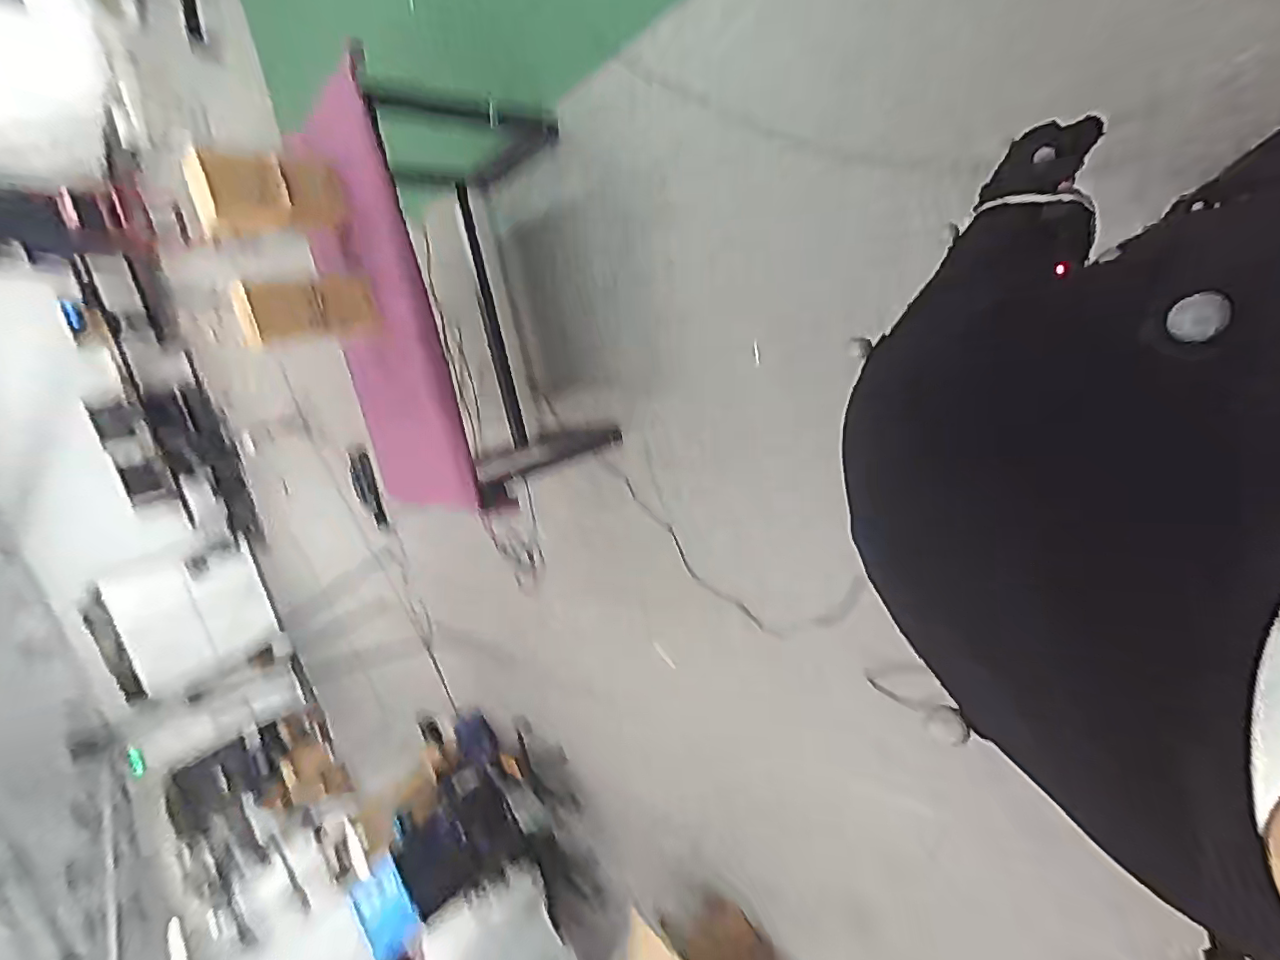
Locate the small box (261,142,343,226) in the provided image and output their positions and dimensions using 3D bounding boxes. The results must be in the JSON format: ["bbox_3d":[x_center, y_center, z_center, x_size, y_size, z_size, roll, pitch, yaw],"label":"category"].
[{"bbox_3d":[-0.994,-0.849,1.570,0.179,0.176,0.168,-1,108,44],"label":"small box"}]

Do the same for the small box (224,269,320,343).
[{"bbox_3d":[-1.034,-0.492,1.529,0.179,0.176,0.168,3,110,45],"label":"small box"}]

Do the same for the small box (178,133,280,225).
[{"bbox_3d":[-1.106,-0.801,1.460,0.179,0.176,0.168,-1,107,44],"label":"small box"}]
